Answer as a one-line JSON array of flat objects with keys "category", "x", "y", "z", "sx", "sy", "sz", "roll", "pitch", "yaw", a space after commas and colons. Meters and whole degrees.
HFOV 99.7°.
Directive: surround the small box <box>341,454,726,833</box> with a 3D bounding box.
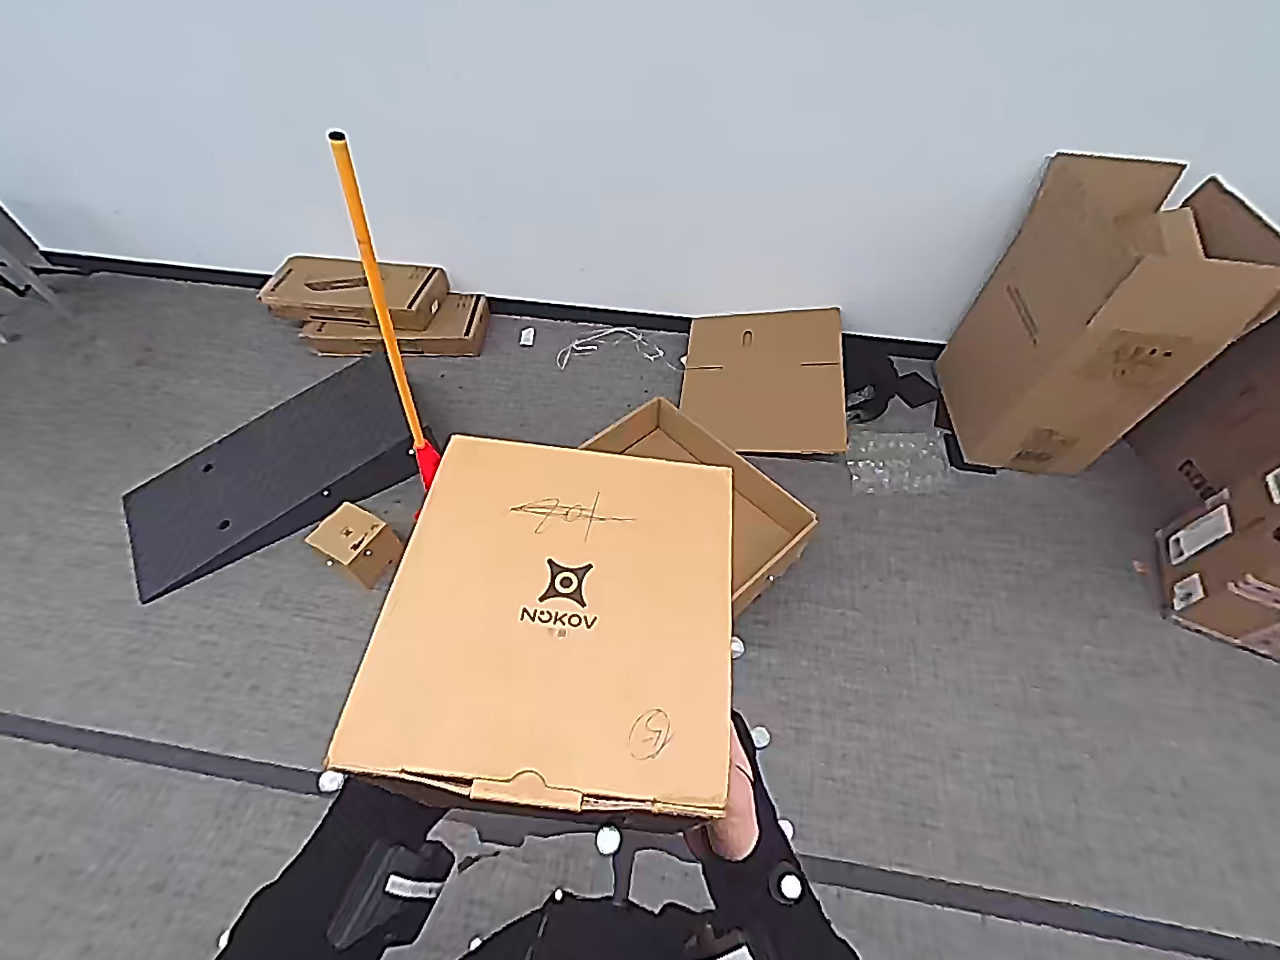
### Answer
[{"category": "small box", "x": -0.044, "y": 0.110, "z": 0.341, "sx": 0.168, "sy": 0.176, "sz": 0.179, "roll": 7, "pitch": 54, "yaw": 0}]
